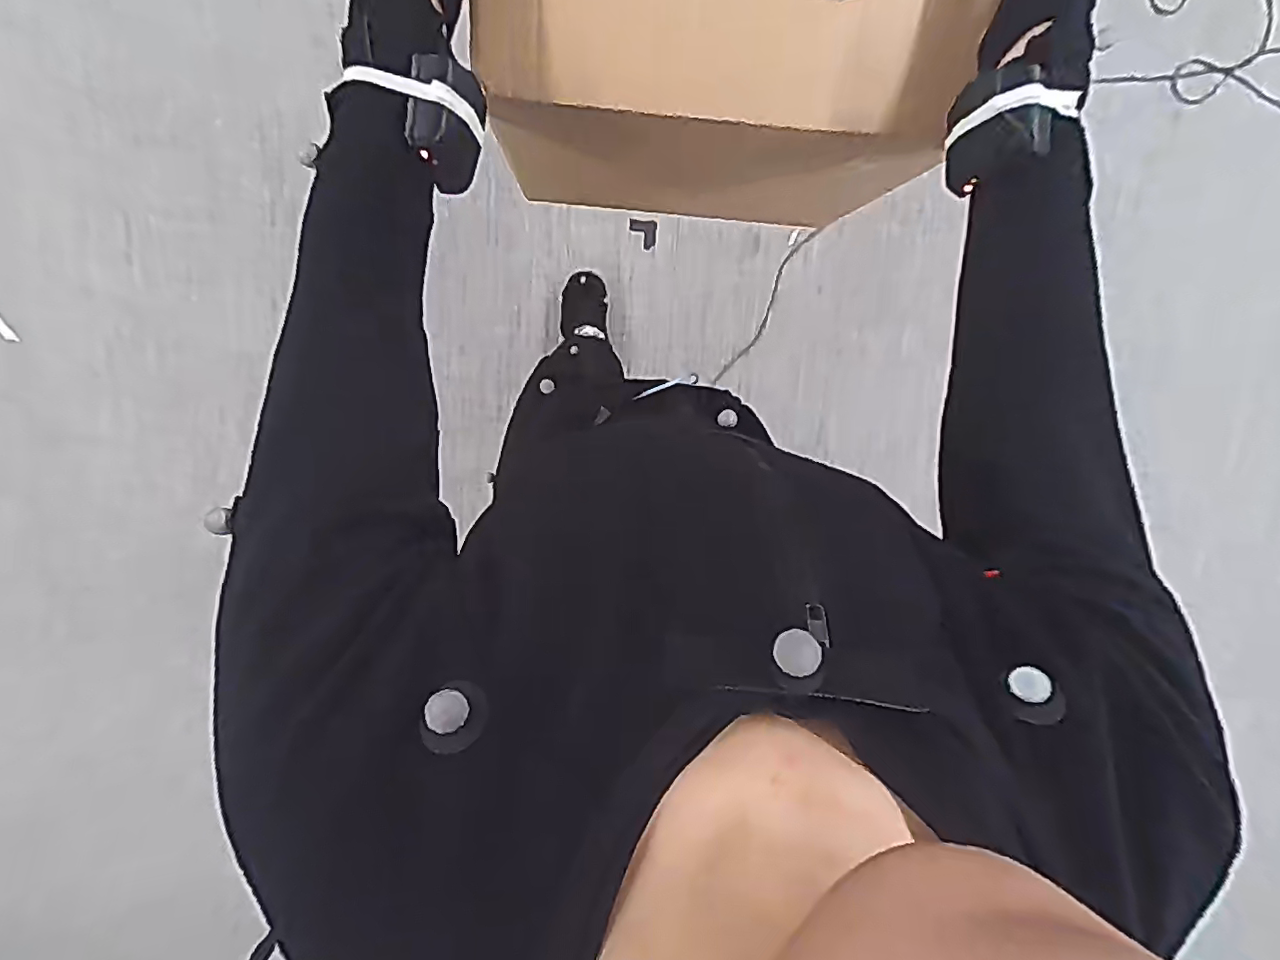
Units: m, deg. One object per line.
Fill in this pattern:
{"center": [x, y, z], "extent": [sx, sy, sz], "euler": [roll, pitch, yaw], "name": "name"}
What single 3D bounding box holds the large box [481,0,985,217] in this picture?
{"center": [0.068, -0.478, 0.545], "extent": [0.408, 0.320, 0.320], "euler": [2, 104, -6], "name": "large box"}
